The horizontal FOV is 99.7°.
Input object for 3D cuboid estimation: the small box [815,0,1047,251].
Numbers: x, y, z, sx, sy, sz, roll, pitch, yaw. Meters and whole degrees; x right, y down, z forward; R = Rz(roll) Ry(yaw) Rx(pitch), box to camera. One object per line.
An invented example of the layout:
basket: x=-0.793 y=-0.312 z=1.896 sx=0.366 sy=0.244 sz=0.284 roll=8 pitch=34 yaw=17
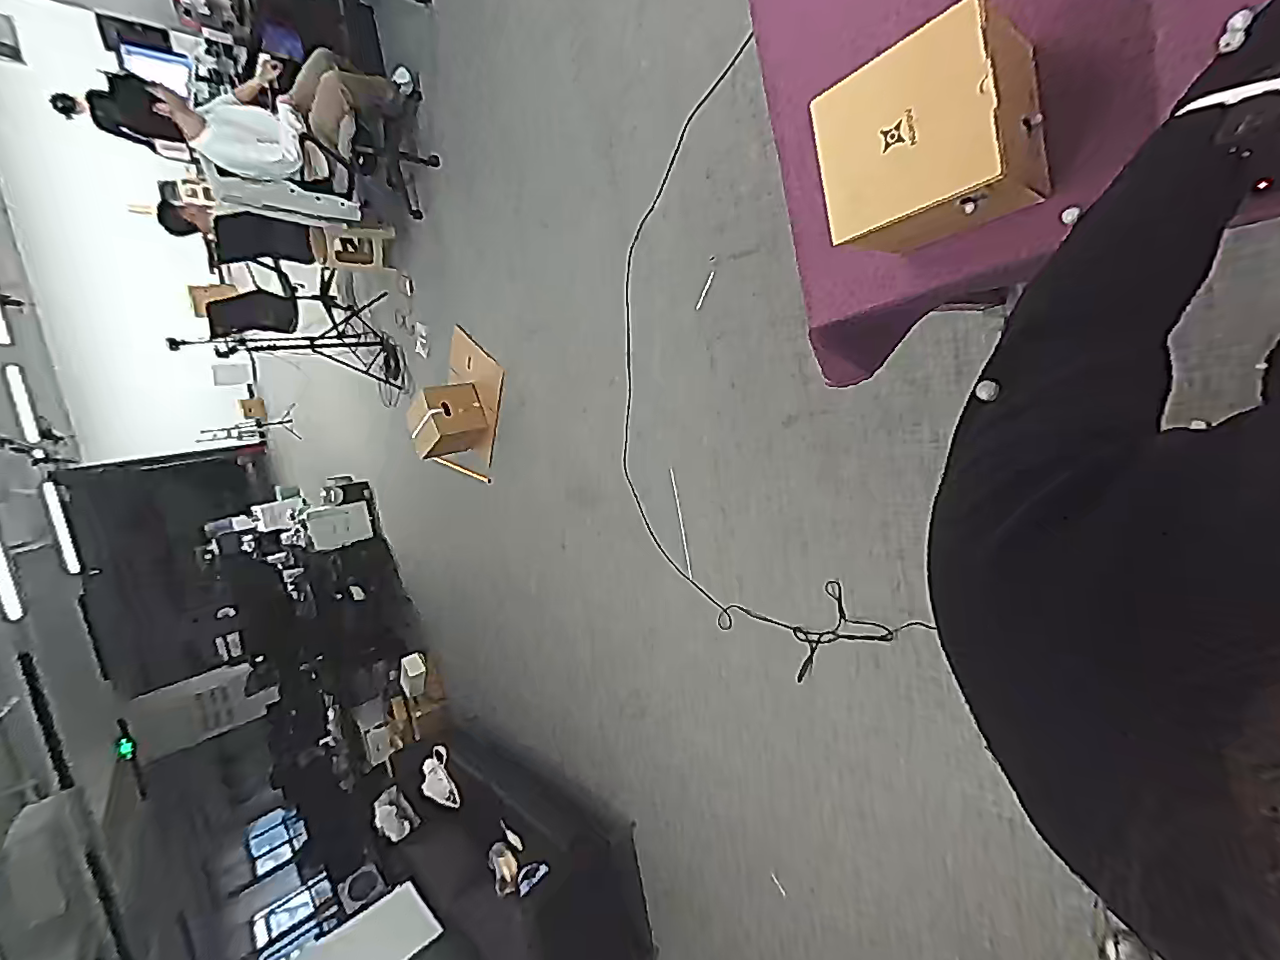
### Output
small box: x=0.330 y=-0.377 z=0.616 sx=0.179 sy=0.176 sz=0.168 roll=-6 pitch=97 yaw=48
